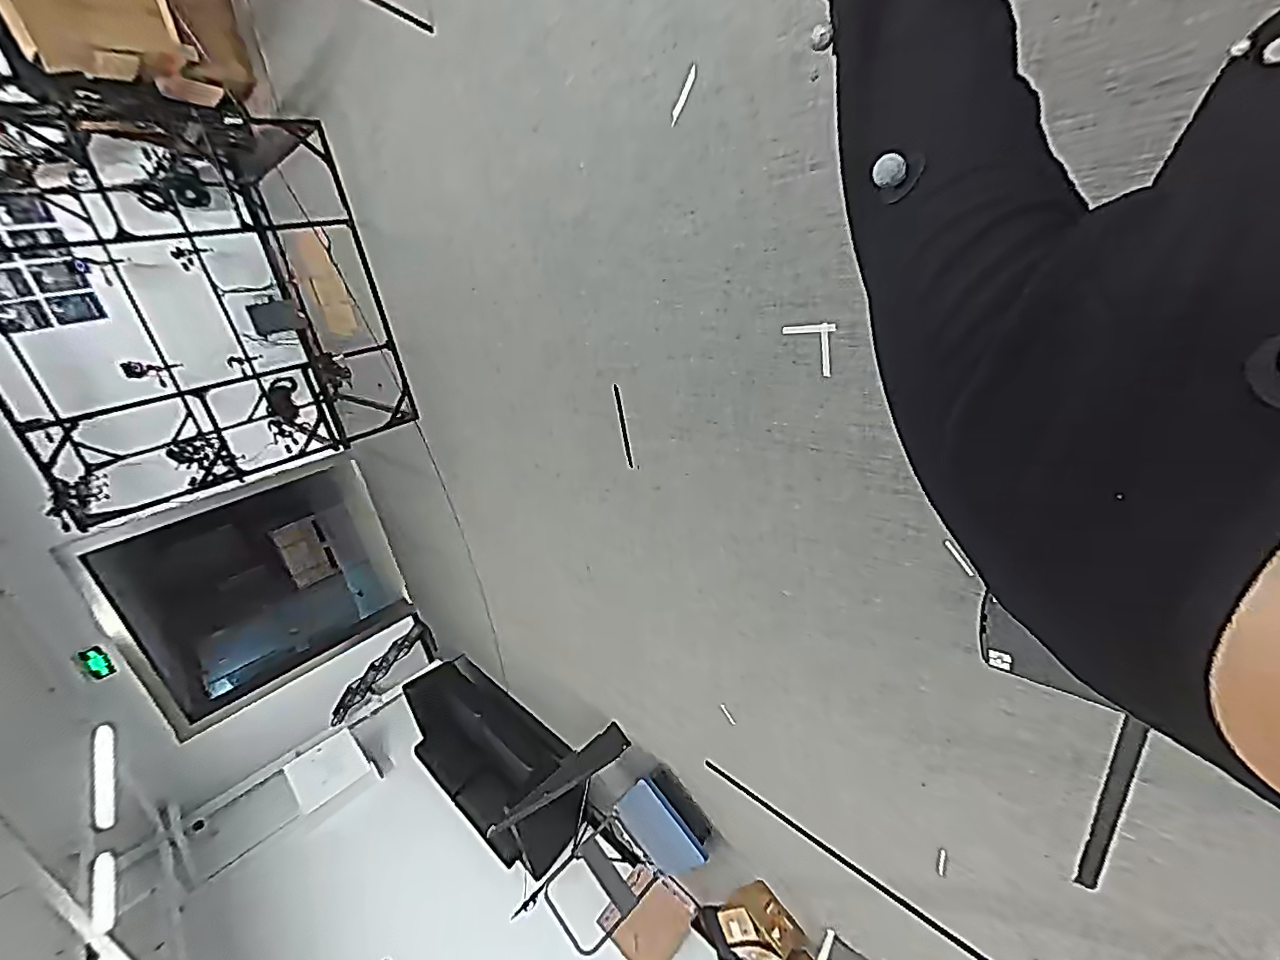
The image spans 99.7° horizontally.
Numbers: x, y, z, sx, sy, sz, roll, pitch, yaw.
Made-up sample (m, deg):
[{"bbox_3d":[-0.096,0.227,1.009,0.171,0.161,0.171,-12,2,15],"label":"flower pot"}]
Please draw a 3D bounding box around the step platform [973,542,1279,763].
[{"bbox_3d":[1.151,0.369,1.219,0.684,0.204,0.286,13,122,47],"label":"step platform"}]
